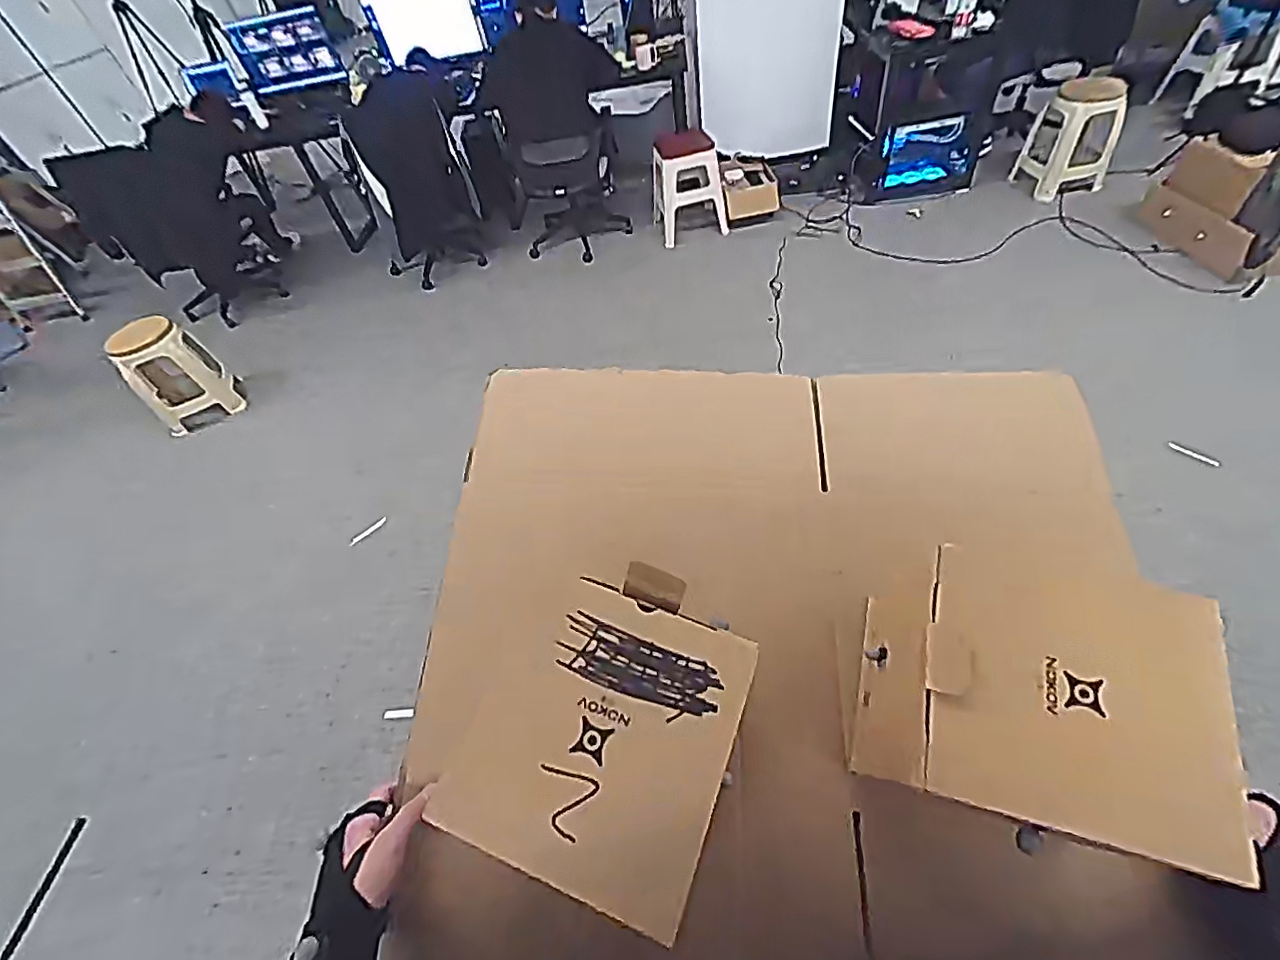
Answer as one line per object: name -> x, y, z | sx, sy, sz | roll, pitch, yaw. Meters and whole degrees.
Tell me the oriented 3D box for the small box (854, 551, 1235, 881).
small box -> 0.288, 0.173, 0.427 | 0.179, 0.176, 0.168 | 11, 67, 12
